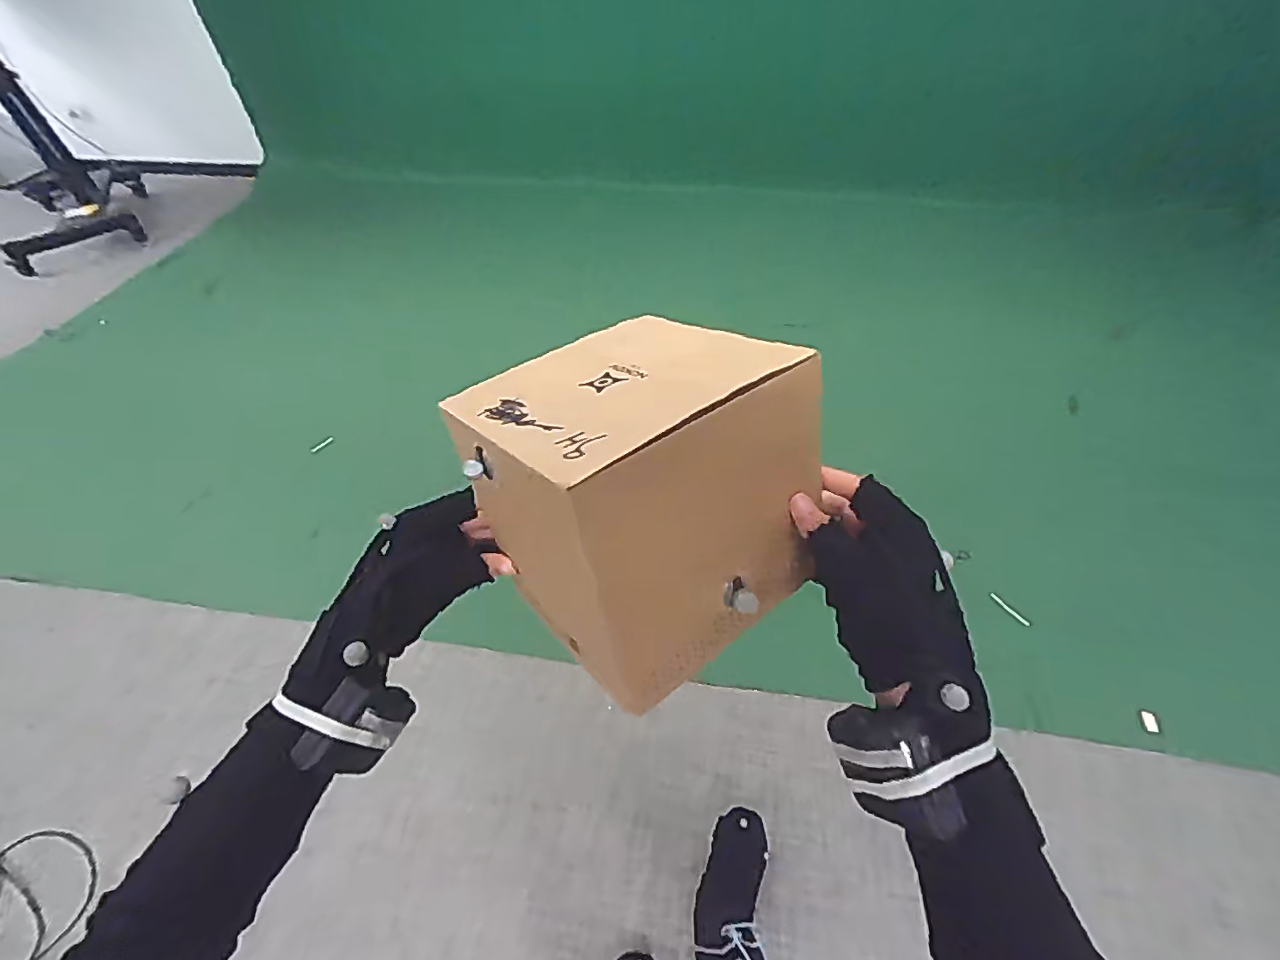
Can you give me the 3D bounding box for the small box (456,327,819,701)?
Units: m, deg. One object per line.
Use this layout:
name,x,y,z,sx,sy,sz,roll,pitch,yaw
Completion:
small box,0.004,0.009,0.380,0.179,0.176,0.168,-29,35,-27
